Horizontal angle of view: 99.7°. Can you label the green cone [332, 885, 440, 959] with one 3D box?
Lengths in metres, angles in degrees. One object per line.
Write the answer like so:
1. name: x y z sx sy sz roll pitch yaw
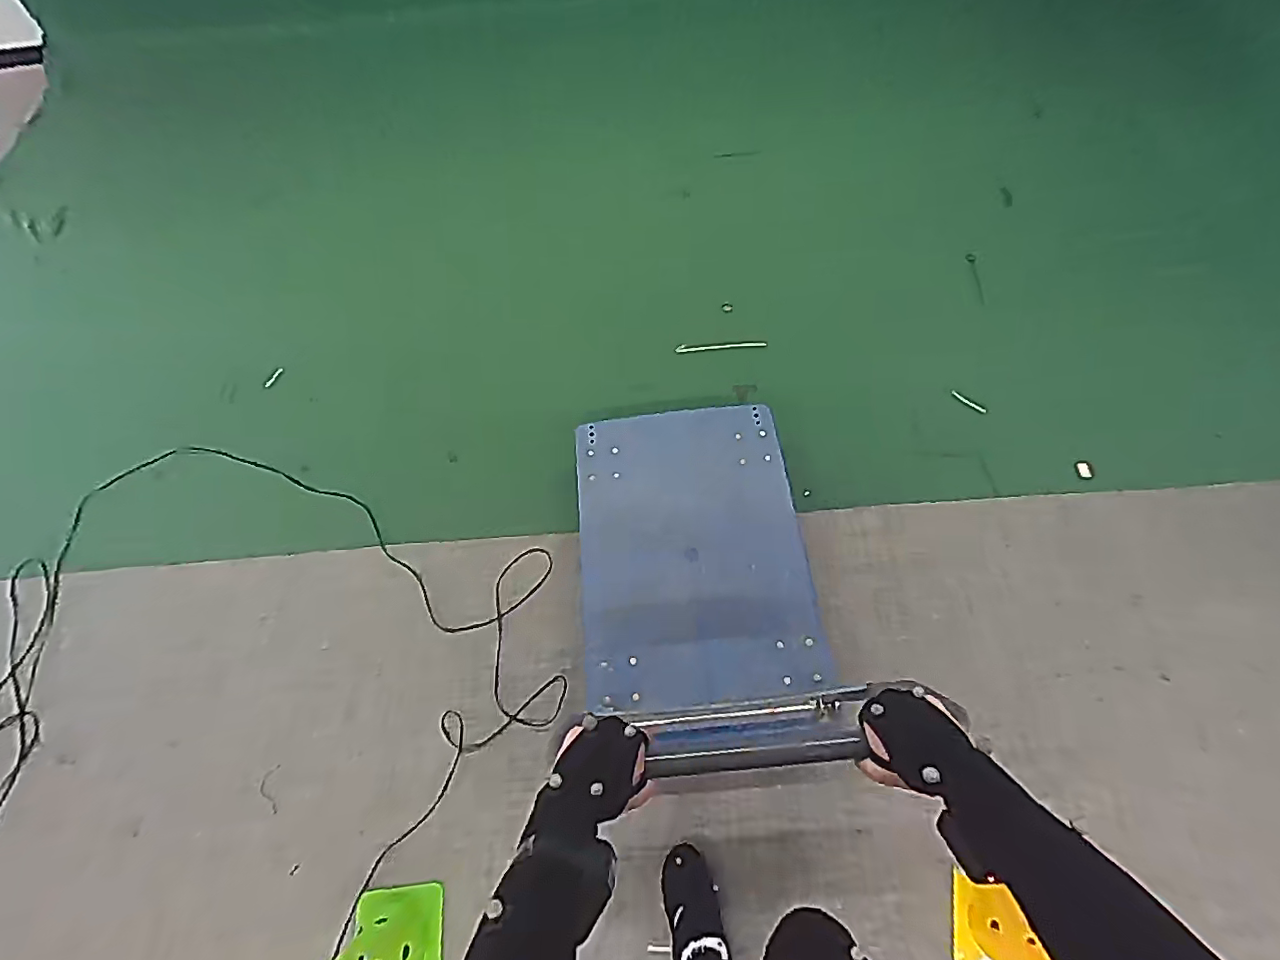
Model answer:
1. green cone: -0.560 0.959 1.053 0.202 0.368 0.200 -9 64 1
